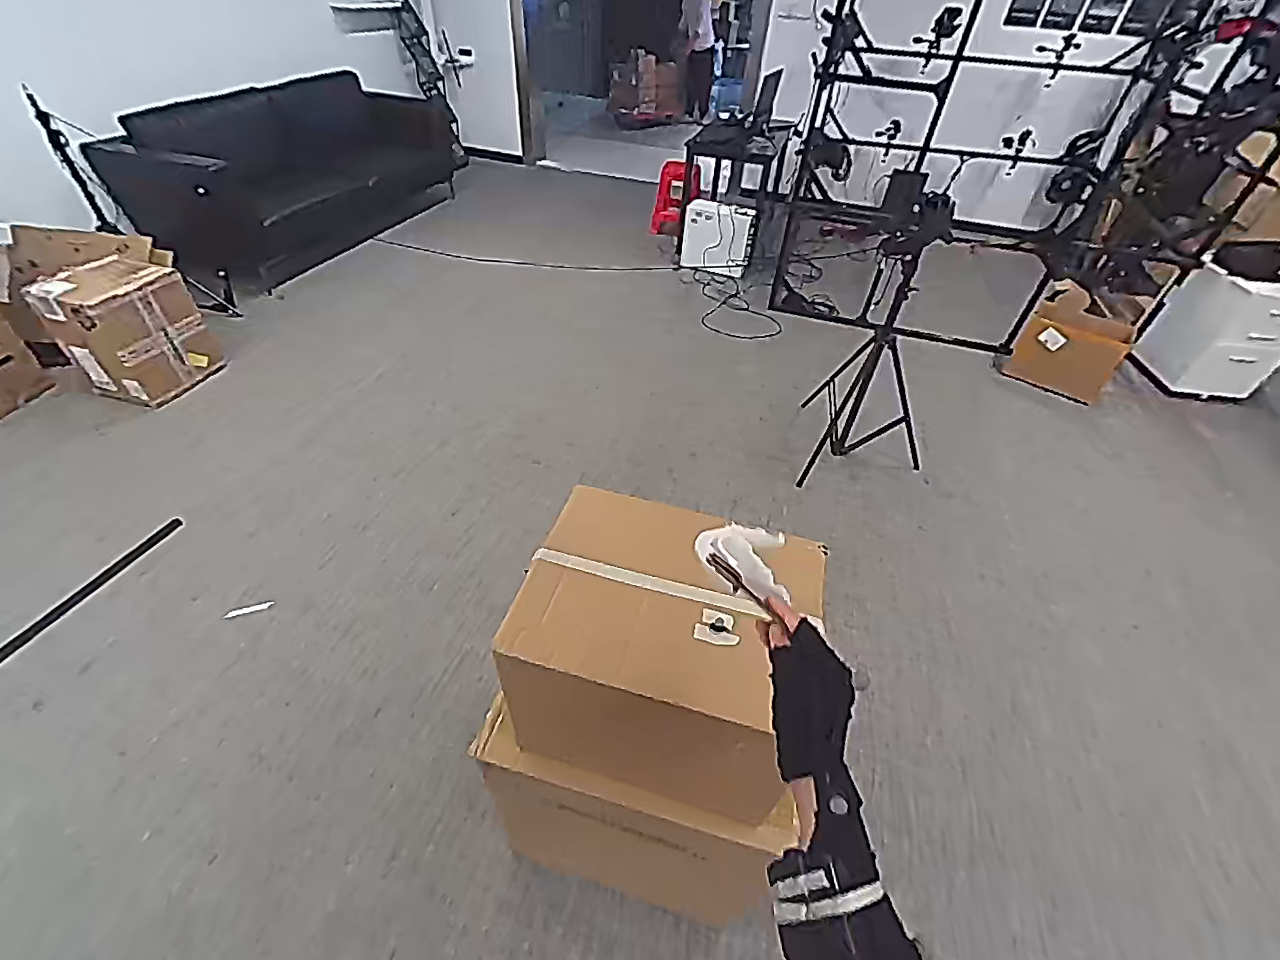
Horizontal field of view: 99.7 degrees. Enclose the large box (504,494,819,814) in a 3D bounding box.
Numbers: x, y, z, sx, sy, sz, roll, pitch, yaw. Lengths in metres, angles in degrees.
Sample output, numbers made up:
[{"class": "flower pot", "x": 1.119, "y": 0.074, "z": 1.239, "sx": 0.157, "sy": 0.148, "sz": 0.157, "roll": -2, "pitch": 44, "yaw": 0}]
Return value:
[{"class": "large box", "x": 0.041, "y": 0.270, "z": 0.866, "sx": 0.408, "sy": 0.320, "sz": 0.320, "roll": 13, "pitch": 44, "yaw": 8}]
